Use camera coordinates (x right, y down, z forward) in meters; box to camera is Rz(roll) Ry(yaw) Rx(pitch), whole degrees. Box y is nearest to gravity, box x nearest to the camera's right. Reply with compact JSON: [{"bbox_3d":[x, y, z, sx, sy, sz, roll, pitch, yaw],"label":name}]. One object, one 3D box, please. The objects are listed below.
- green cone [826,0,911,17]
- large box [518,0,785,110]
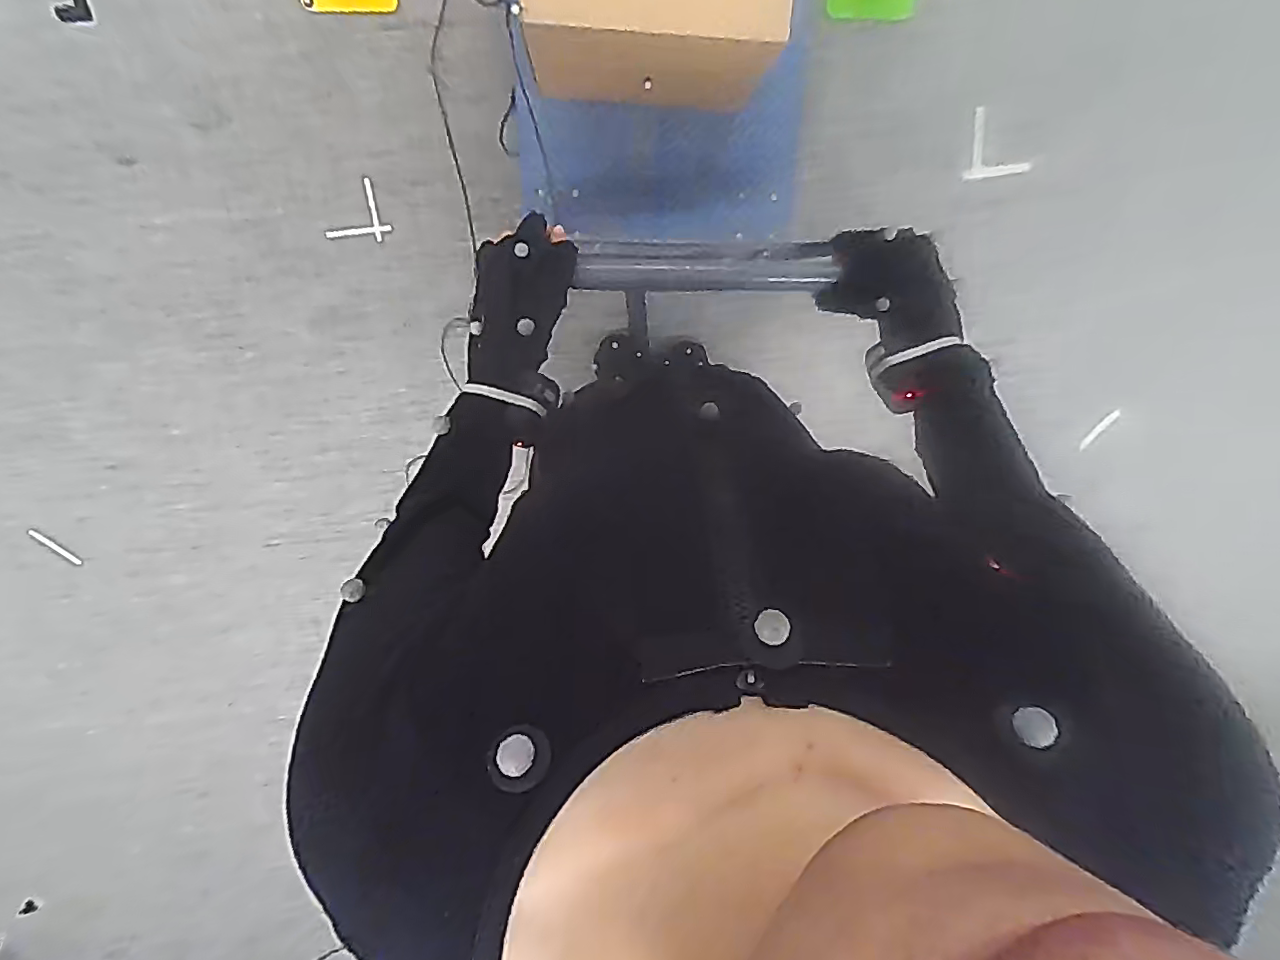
[{"bbox_3d":[0.526,-1.092,1.026,0.202,0.368,0.200,-3,107,-5],"label":"green cone"},{"bbox_3d":[0.016,-0.855,0.912,0.408,0.320,0.320,1,107,-3],"label":"large box"}]
